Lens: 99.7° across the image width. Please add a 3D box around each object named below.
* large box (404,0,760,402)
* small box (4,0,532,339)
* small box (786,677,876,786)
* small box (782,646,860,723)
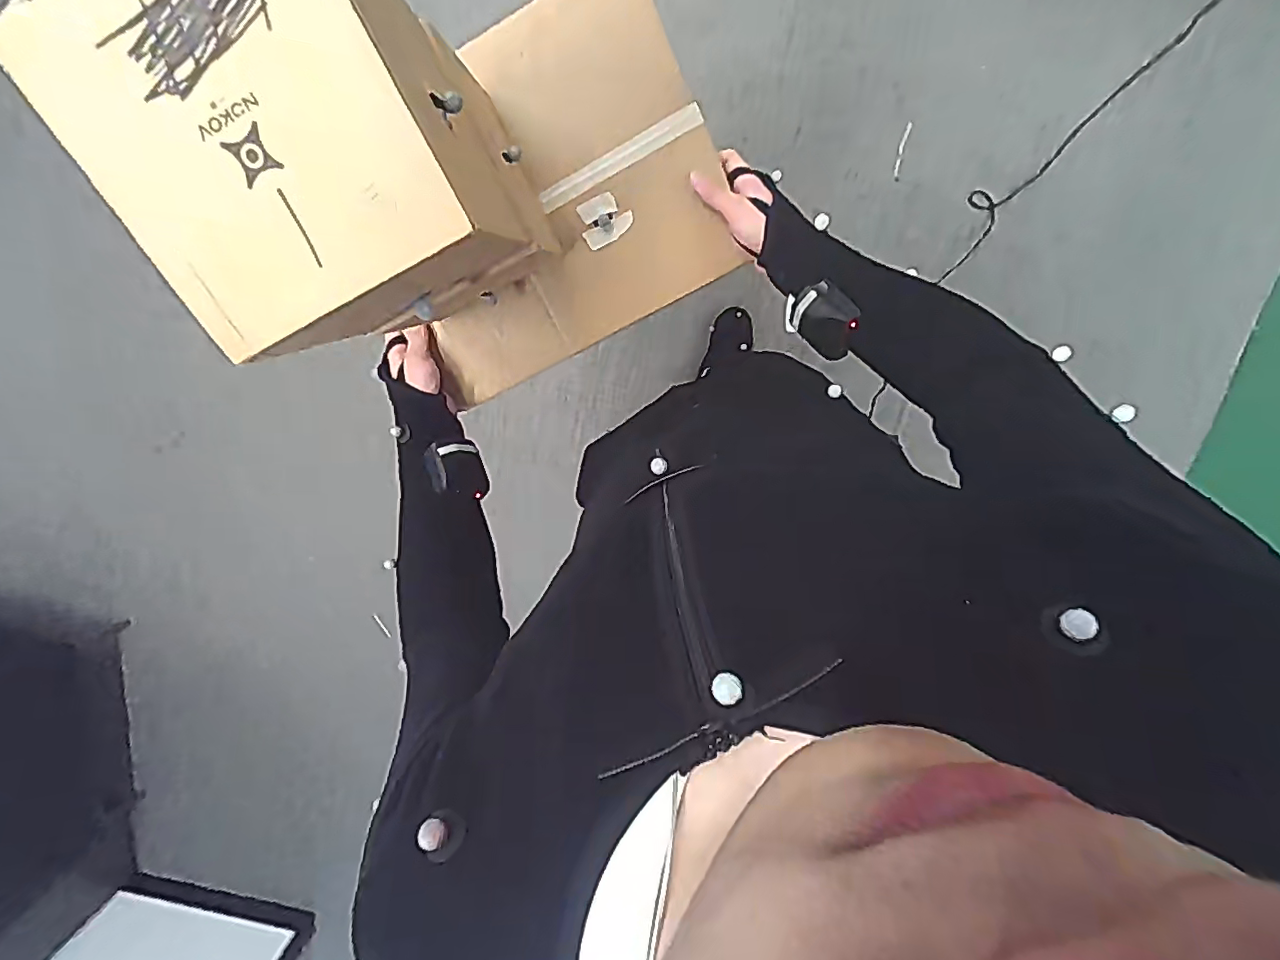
[{"bbox_3d":[-0.110,-0.355,0.725,0.408,0.320,0.320,-25,110,8],"label":"large box"},{"bbox_3d":[-0.188,-0.209,0.342,0.168,0.176,0.179,-24,110,8],"label":"small box"},{"bbox_3d":[0.512,0.681,1.478,0.168,0.176,0.179,21,105,3],"label":"small box"},{"bbox_3d":[0.537,0.639,1.633,0.168,0.176,0.179,17,104,5],"label":"small box"}]
